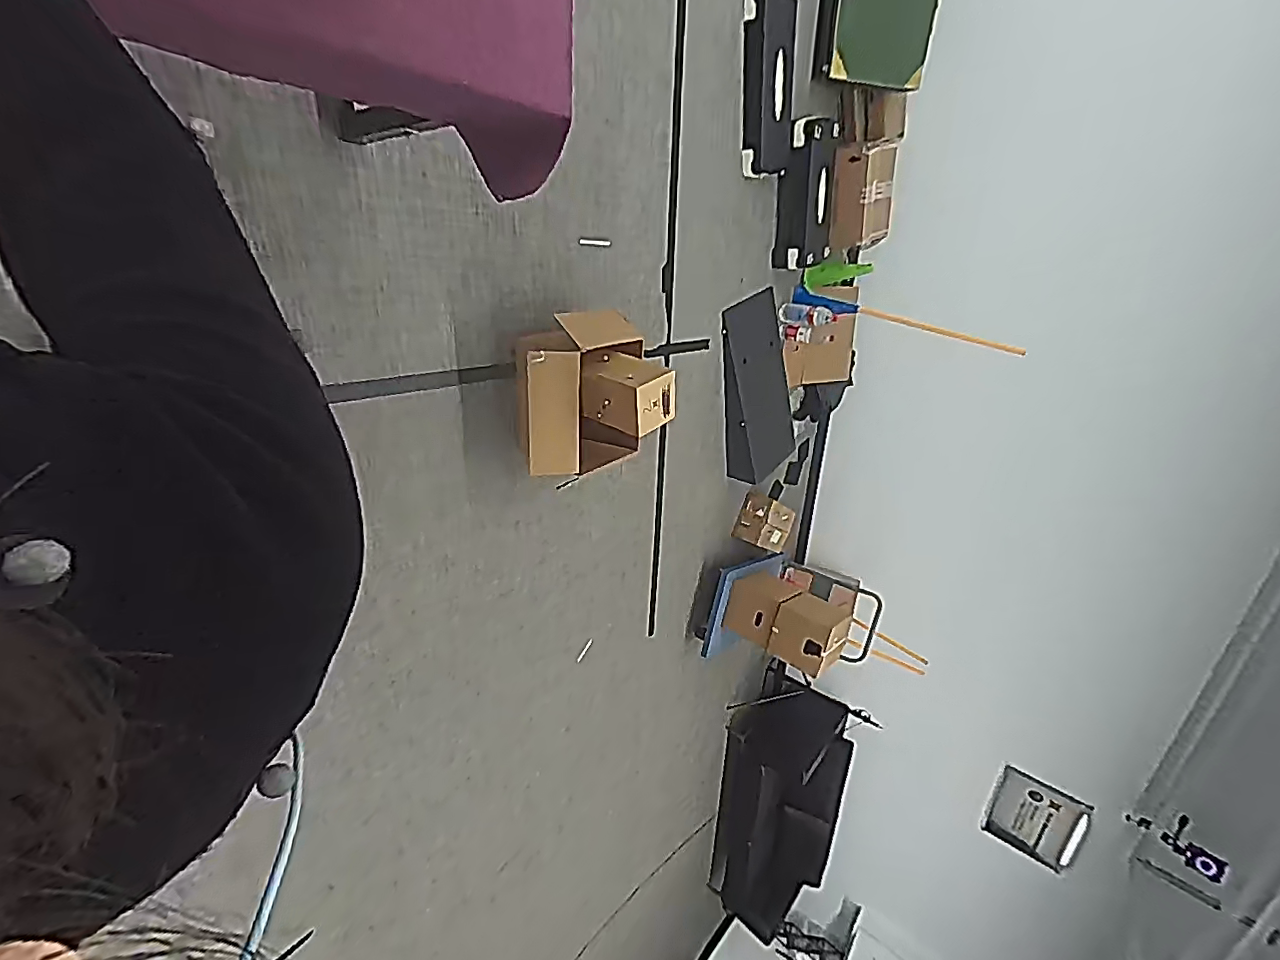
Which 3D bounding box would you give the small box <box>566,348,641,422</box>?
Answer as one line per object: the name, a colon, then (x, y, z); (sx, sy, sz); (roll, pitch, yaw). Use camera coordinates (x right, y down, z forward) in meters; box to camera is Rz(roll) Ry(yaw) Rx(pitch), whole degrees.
small box: (-0.122, -0.324, 1.794); (0.168, 0.176, 0.179); (-42, 139, -30)
